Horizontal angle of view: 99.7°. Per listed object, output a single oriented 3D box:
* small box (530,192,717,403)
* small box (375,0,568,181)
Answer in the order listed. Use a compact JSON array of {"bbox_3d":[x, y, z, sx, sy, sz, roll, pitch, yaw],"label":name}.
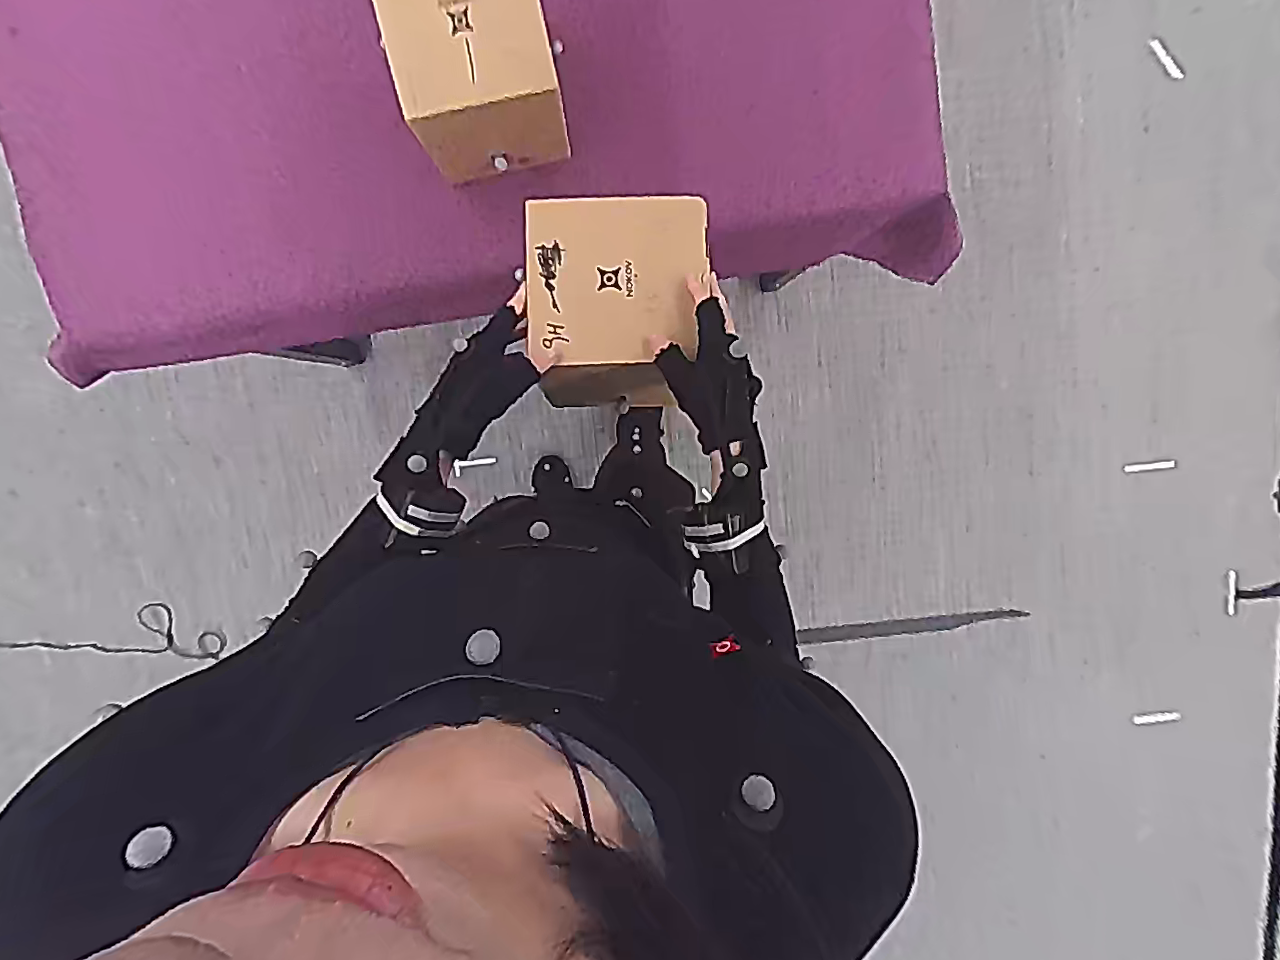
[{"bbox_3d":[-0.021,-0.184,0.587,0.179,0.176,0.168,-1,84,-3],"label":"small box"},{"bbox_3d":[-0.184,-0.481,0.622,0.168,0.176,0.179,-13,98,-1],"label":"small box"}]
